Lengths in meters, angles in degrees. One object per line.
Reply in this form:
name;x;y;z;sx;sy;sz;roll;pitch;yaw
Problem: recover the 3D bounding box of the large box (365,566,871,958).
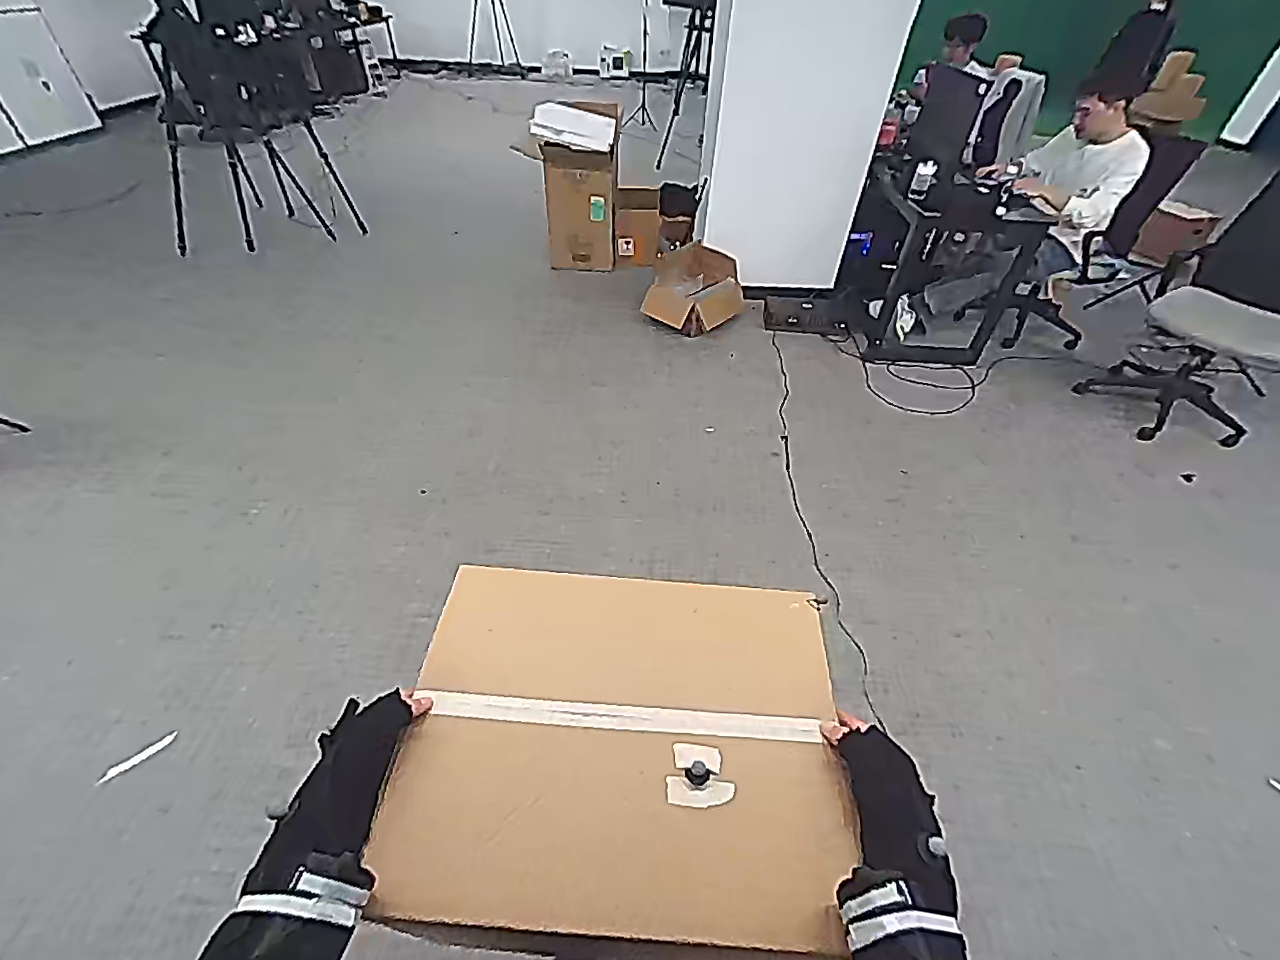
large box;-0.019;0.326;0.625;0.408;0.320;0.320;5;46;0
